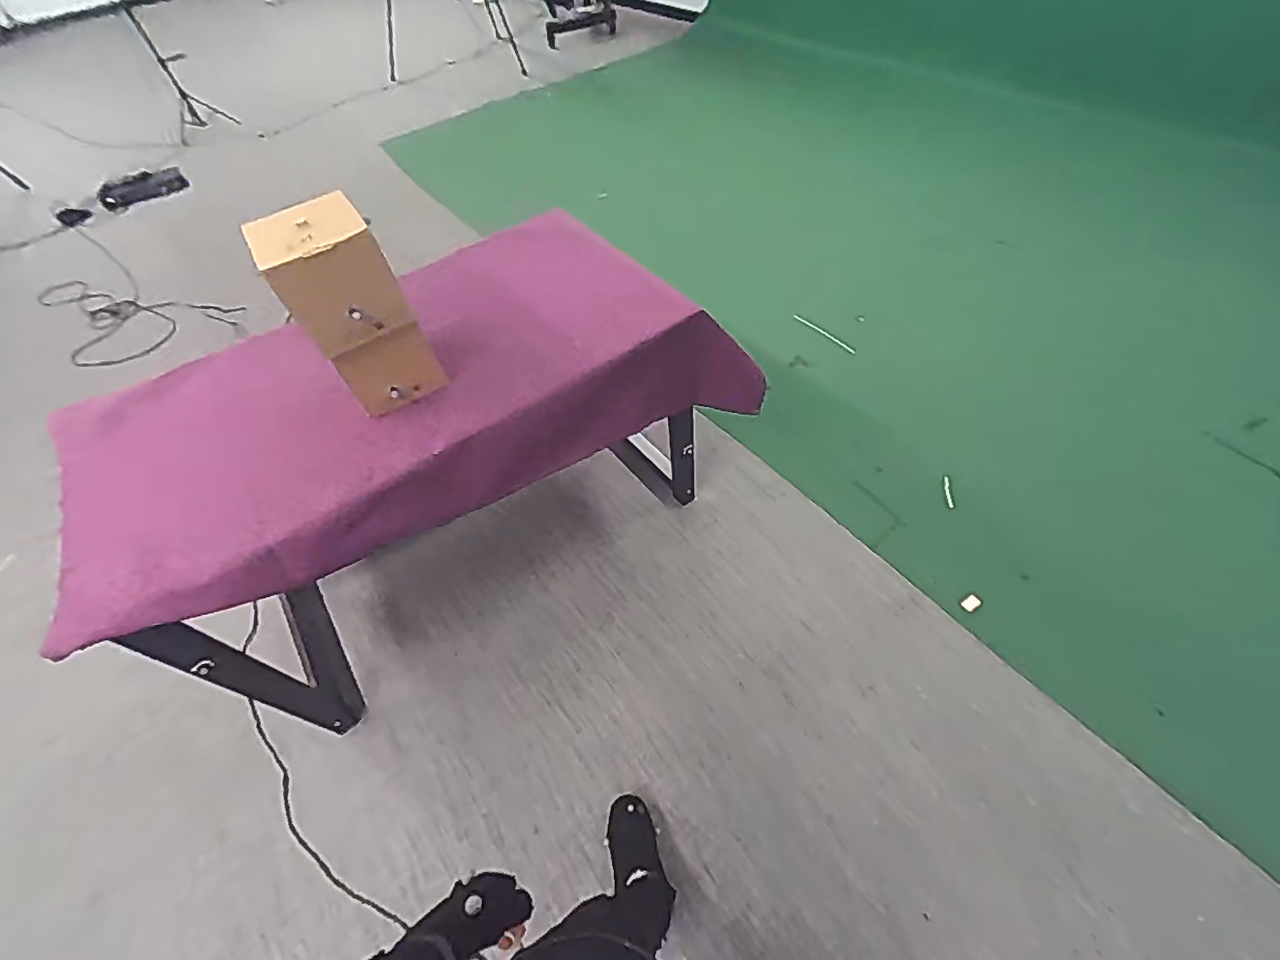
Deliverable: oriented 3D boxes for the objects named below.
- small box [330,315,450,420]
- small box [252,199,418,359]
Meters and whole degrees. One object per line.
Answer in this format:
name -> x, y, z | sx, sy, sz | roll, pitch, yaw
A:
small box -> -0.497, -0.249, 1.052 | 0.168, 0.176, 0.179 | -29, 56, -15
small box -> -0.506, -0.336, 0.912 | 0.168, 0.176, 0.179 | -31, 56, -15
